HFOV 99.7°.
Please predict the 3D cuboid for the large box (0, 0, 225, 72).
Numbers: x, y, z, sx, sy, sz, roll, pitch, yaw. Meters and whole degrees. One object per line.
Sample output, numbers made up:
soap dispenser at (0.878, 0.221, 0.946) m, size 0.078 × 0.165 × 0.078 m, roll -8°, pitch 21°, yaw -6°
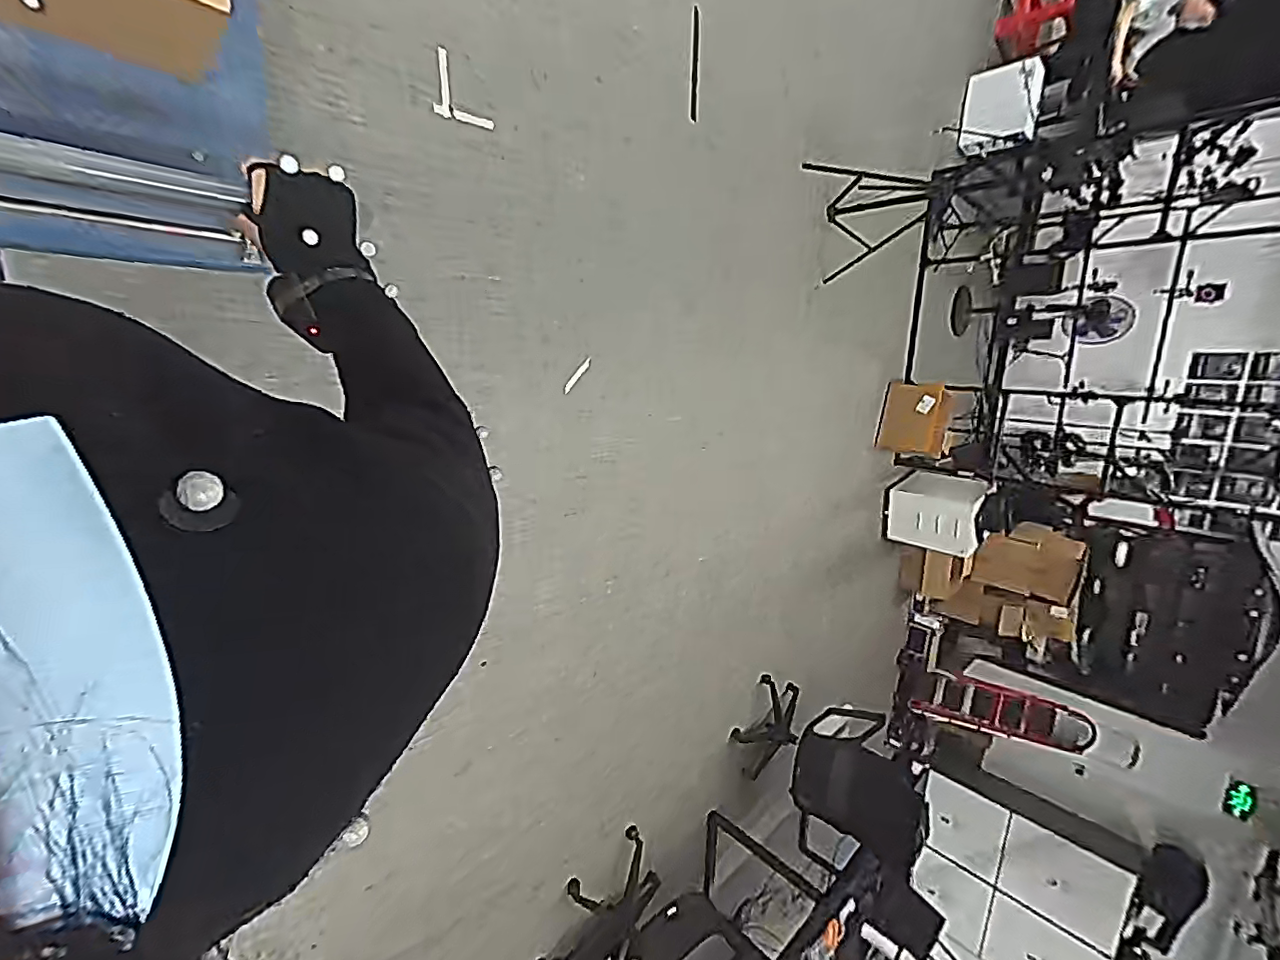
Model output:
large box at (-0.821, -0.824, 0.701) m, size 0.408 × 0.320 × 0.320 m, roll -7°, pitch 105°, yaw -43°
